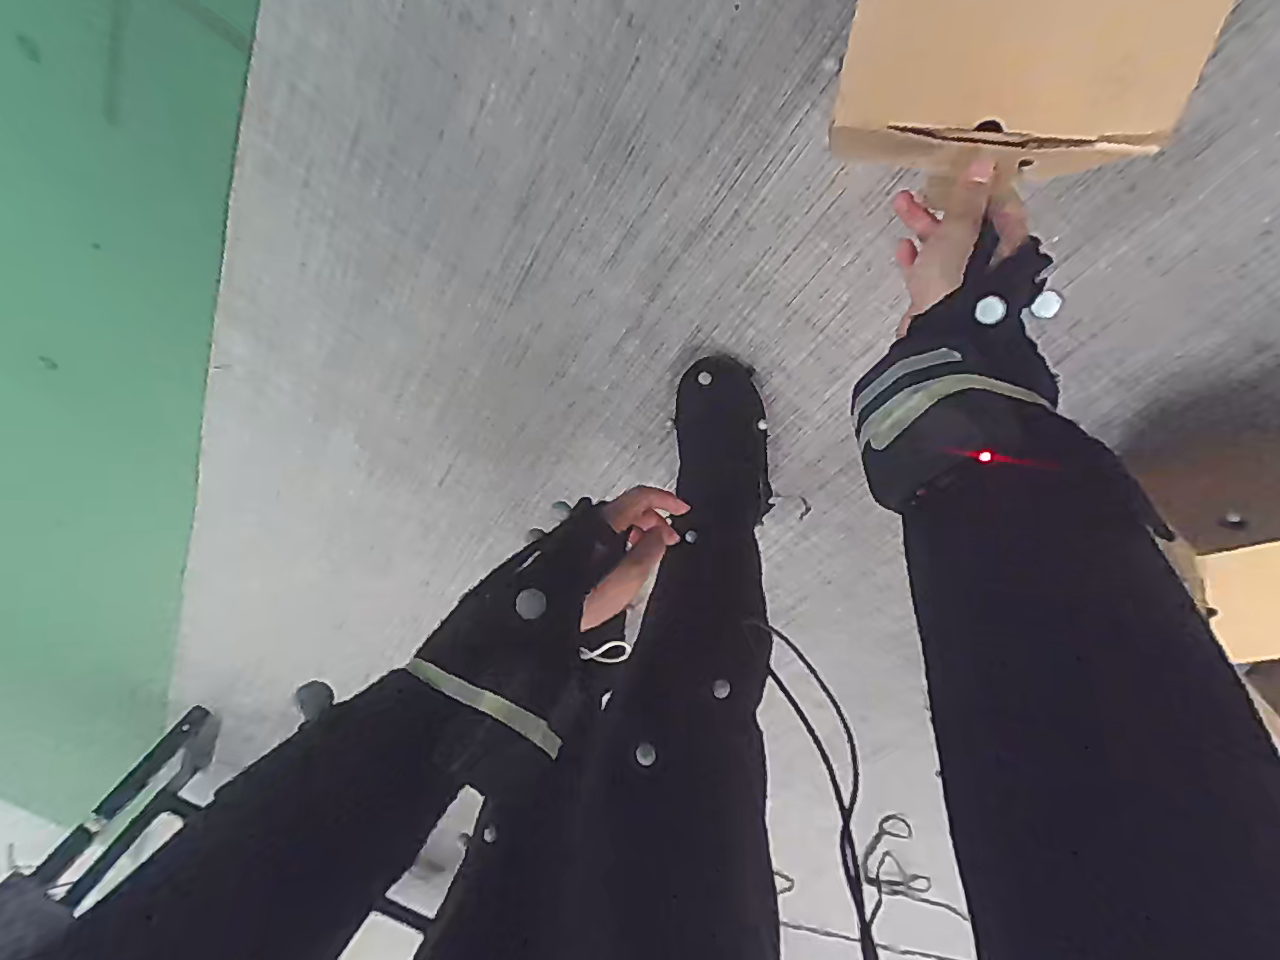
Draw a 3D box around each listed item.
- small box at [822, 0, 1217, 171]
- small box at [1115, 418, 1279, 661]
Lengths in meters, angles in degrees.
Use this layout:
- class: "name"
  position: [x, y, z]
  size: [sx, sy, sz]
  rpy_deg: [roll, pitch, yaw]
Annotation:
- class: "small box"
  position: [0.214, -0.295, 0.322]
  size: [0.168, 0.176, 0.179]
  rpy_deg: [12, 116, 13]
- class: "small box"
  position: [0.644, 0.055, 0.556]
  size: [0.179, 0.176, 0.168]
  rpy_deg: [-20, 117, 26]
